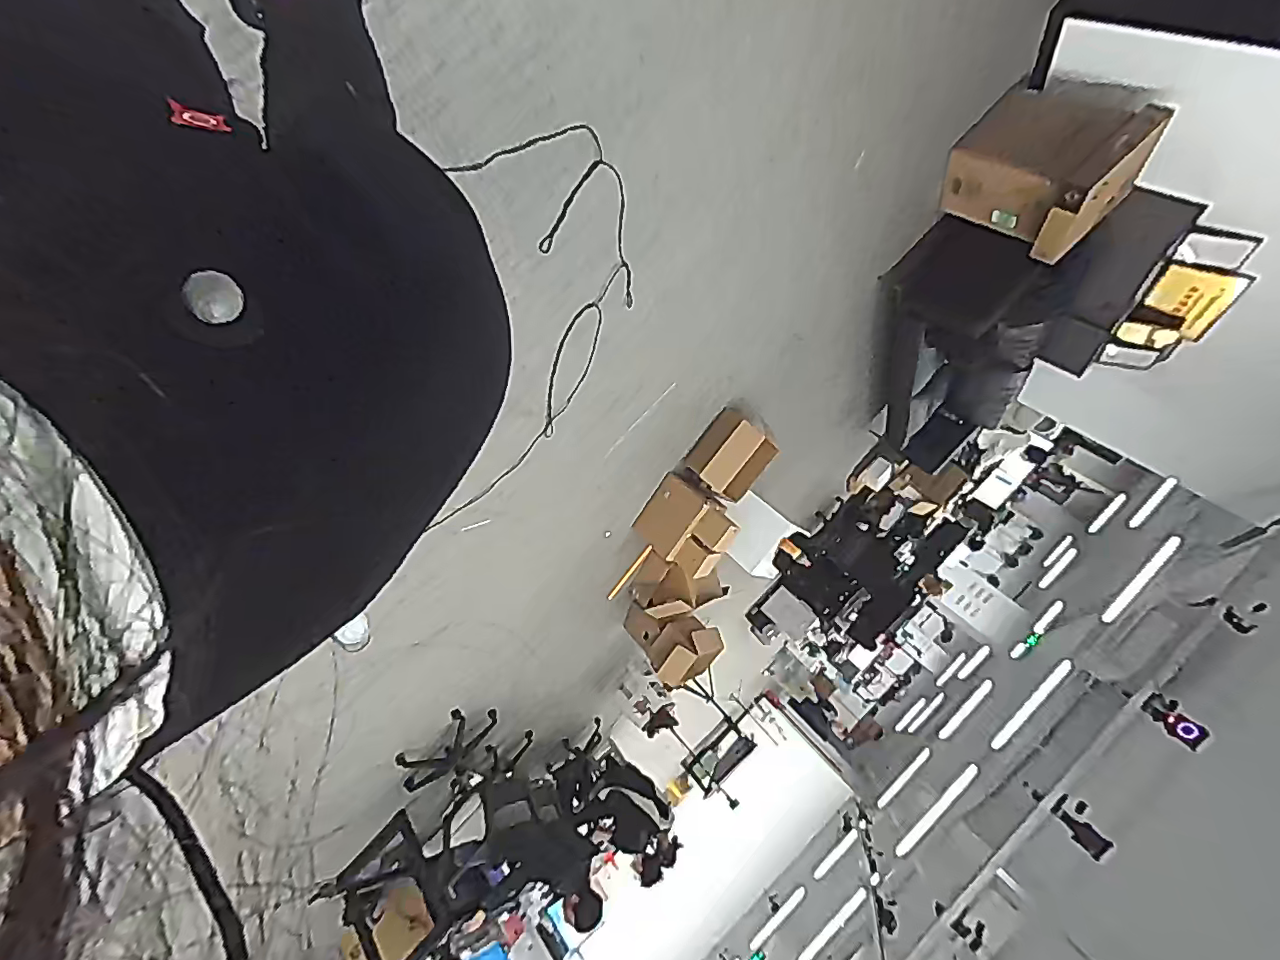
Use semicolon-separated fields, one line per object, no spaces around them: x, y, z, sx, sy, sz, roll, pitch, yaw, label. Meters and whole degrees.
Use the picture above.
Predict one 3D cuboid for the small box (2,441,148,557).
-1.254;0.042;1.197;0.179;0.176;0.168;-49;151;4;small box
